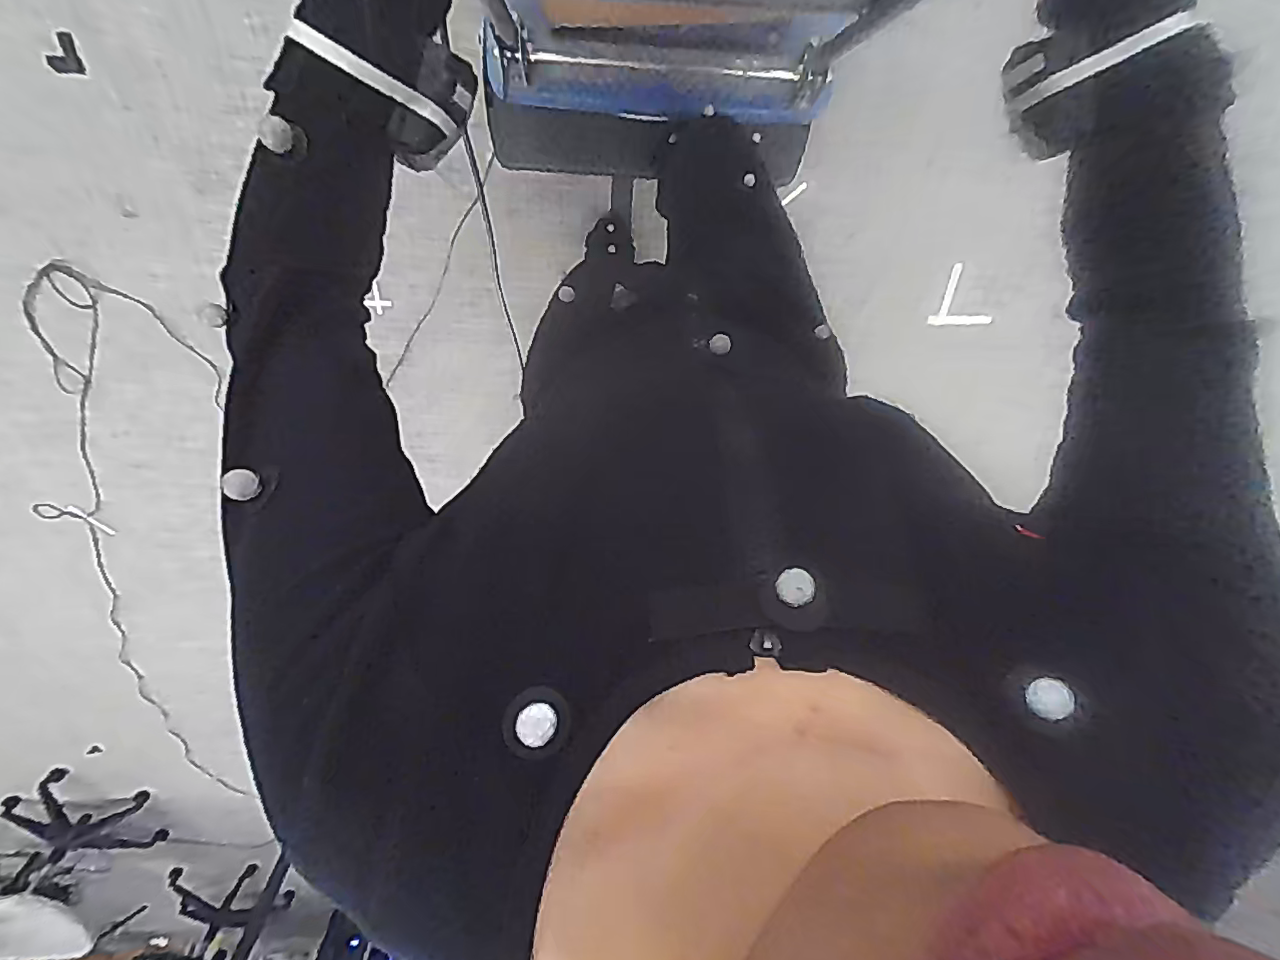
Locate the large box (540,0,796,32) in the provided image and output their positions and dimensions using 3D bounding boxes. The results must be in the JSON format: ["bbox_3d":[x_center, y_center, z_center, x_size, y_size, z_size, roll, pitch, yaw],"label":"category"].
[{"bbox_3d":[0.044,-0.830,0.693,0.408,0.320,0.320,-4,113,-3],"label":"large box"}]
